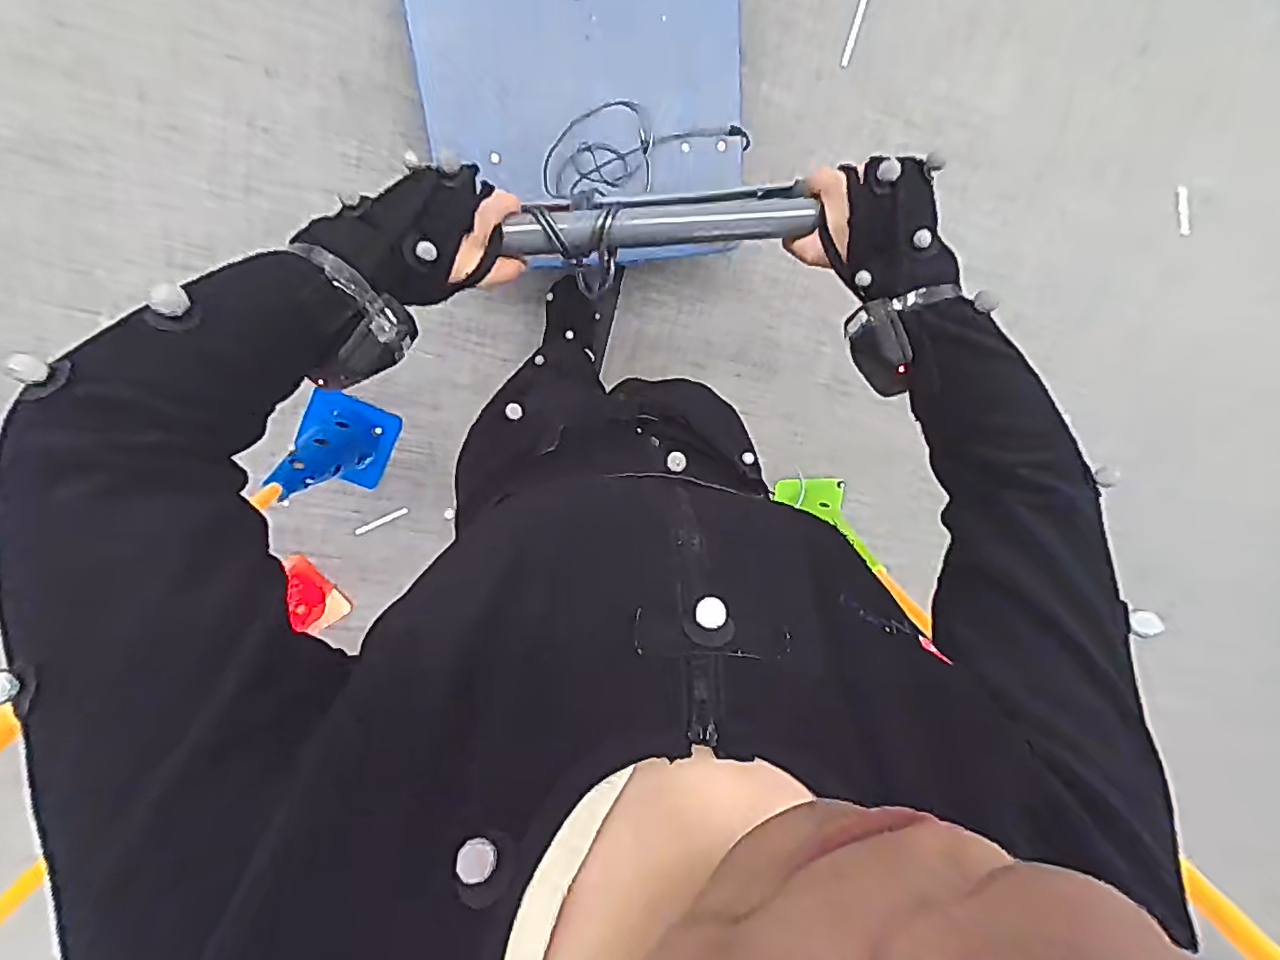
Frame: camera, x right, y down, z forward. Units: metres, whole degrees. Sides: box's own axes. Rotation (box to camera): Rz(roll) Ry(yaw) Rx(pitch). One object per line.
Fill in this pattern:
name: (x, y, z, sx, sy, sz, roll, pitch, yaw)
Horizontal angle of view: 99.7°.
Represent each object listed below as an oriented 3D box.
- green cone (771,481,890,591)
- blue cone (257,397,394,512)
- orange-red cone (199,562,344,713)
green cone: (0.487, 0.157, 1.323, 0.200, 0.368, 0.202, -2, 110, -8)
blue cone: (-0.657, -0.030, 1.089, 0.193, 0.380, 0.192, 26, 103, -16)
orange-red cone: (-0.837, 0.367, 1.175, 0.199, 0.360, 0.198, -32, 111, 0)
